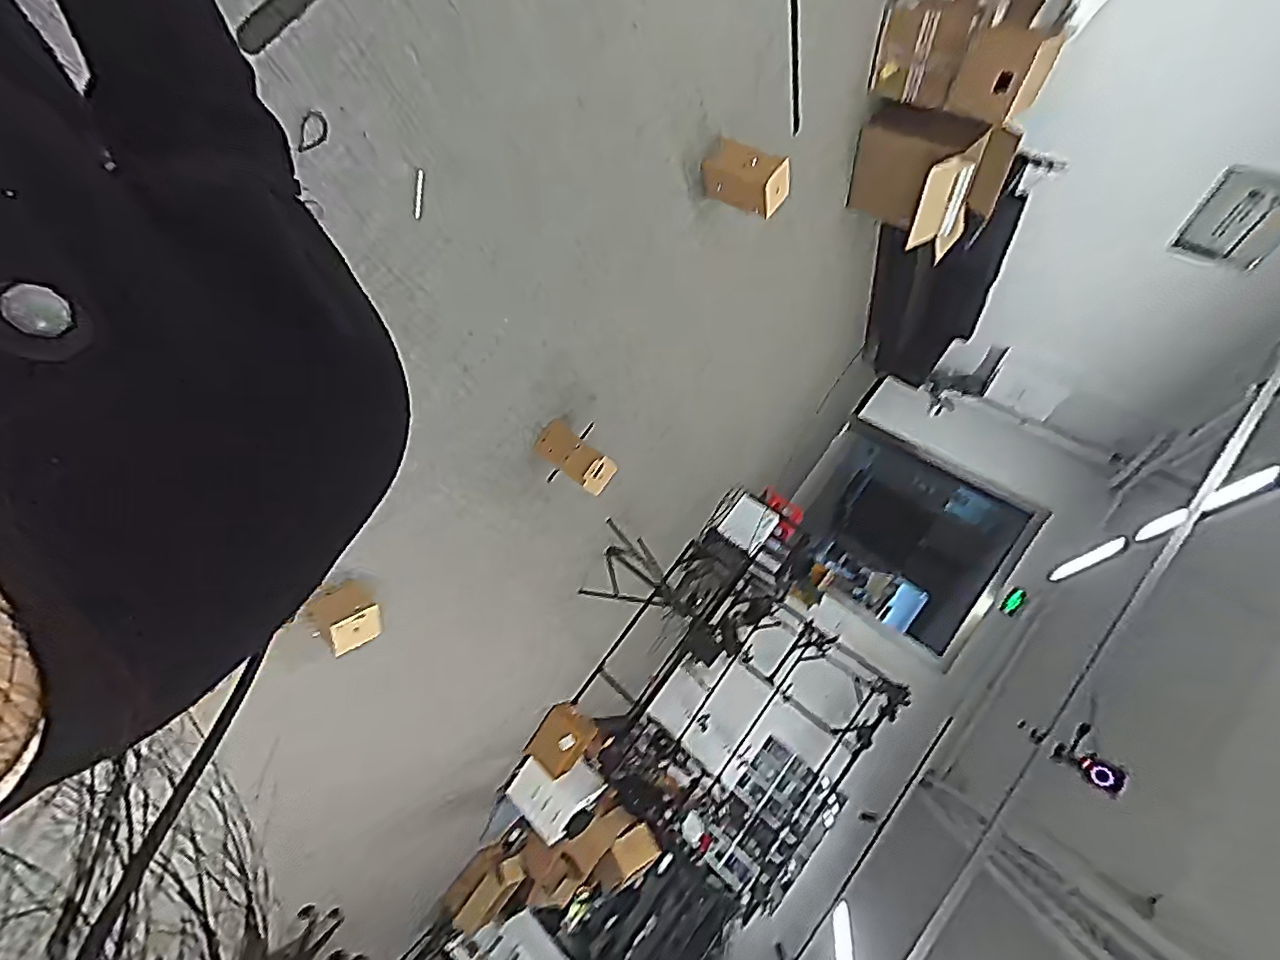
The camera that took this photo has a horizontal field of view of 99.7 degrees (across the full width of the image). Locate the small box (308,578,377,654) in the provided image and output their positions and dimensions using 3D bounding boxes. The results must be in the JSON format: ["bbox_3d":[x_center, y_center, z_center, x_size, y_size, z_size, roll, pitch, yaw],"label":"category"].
[{"bbox_3d":[-1.098,0.499,2.000,0.168,0.176,0.179,-27,142,-44],"label":"small box"}]

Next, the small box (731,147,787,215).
[{"bbox_3d":[0.503,-1.270,2.292,0.168,0.176,0.179,-51,153,-10],"label":"small box"}]

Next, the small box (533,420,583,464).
[{"bbox_3d":[-0.364,-0.157,2.497,0.168,0.176,0.179,-54,156,-2],"label":"small box"}]

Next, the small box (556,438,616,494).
[{"bbox_3d":[-0.245,-0.069,2.425,0.168,0.176,0.179,-54,155,-3],"label":"small box"}]
